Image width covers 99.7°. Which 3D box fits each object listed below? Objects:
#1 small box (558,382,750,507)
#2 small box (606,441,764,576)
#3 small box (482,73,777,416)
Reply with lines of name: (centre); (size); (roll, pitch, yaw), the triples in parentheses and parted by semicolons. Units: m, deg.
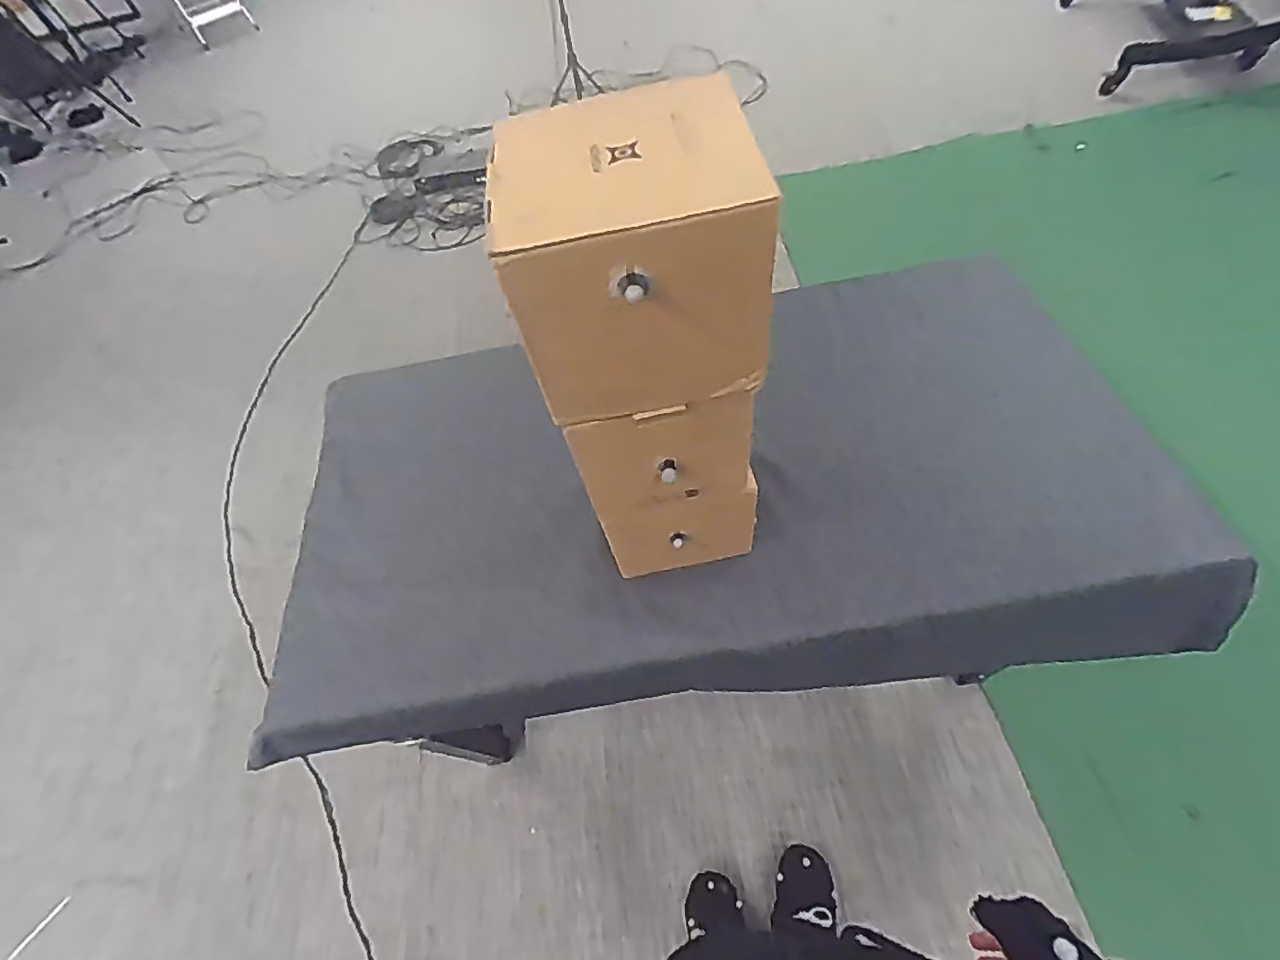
small box: (0.011, -0.086, 0.557); (0.168, 0.176, 0.179); (-12, 58, 1)
small box: (0.042, 0.003, 0.690); (0.179, 0.176, 0.168); (-14, 58, -2)
small box: (-0.005, -0.168, 0.417); (0.179, 0.176, 0.168); (-10, 58, 2)
